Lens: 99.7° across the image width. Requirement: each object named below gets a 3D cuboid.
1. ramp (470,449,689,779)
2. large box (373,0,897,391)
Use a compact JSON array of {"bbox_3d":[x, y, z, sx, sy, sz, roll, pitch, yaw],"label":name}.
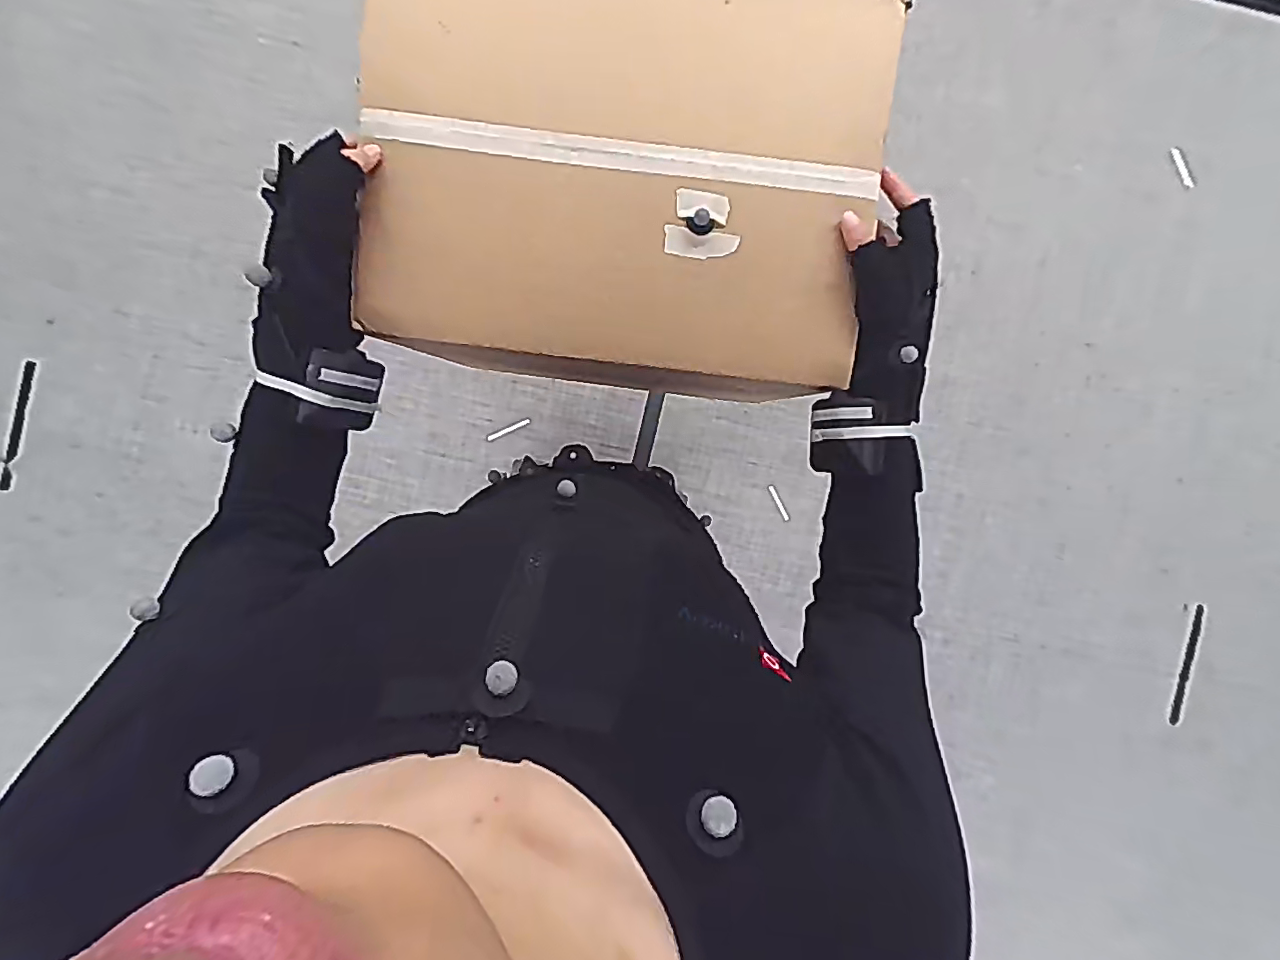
[{"bbox_3d":[-0.199,0.433,1.601,0.509,0.206,0.991,10,93,-3],"label":"ramp"},{"bbox_3d":[-0.013,-0.278,0.582,0.408,0.320,0.320,7,97,-2],"label":"large box"}]
